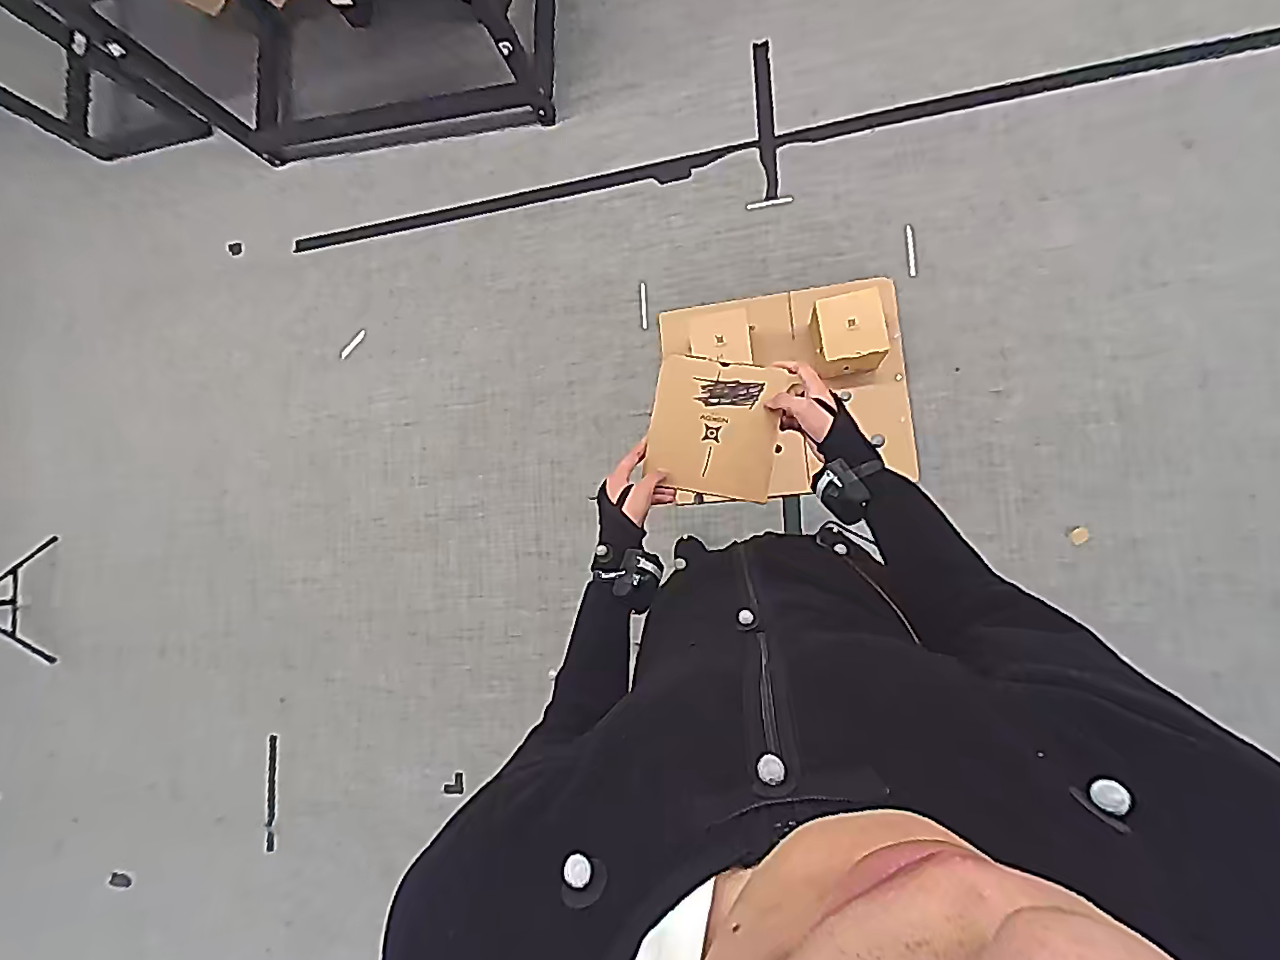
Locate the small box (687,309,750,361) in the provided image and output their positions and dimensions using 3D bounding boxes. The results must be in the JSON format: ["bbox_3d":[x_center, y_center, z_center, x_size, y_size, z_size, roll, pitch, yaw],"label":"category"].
[{"bbox_3d":[0.234,-0.374,1.575,0.168,0.176,0.179,-6,85,13],"label":"small box"}]

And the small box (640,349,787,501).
[{"bbox_3d":[0.103,-0.069,0.773,0.168,0.176,0.179,10,90,8],"label":"small box"}]

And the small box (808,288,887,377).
[{"bbox_3d":[0.571,-0.404,1.509,0.168,0.176,0.179,-10,84,12],"label":"small box"}]
